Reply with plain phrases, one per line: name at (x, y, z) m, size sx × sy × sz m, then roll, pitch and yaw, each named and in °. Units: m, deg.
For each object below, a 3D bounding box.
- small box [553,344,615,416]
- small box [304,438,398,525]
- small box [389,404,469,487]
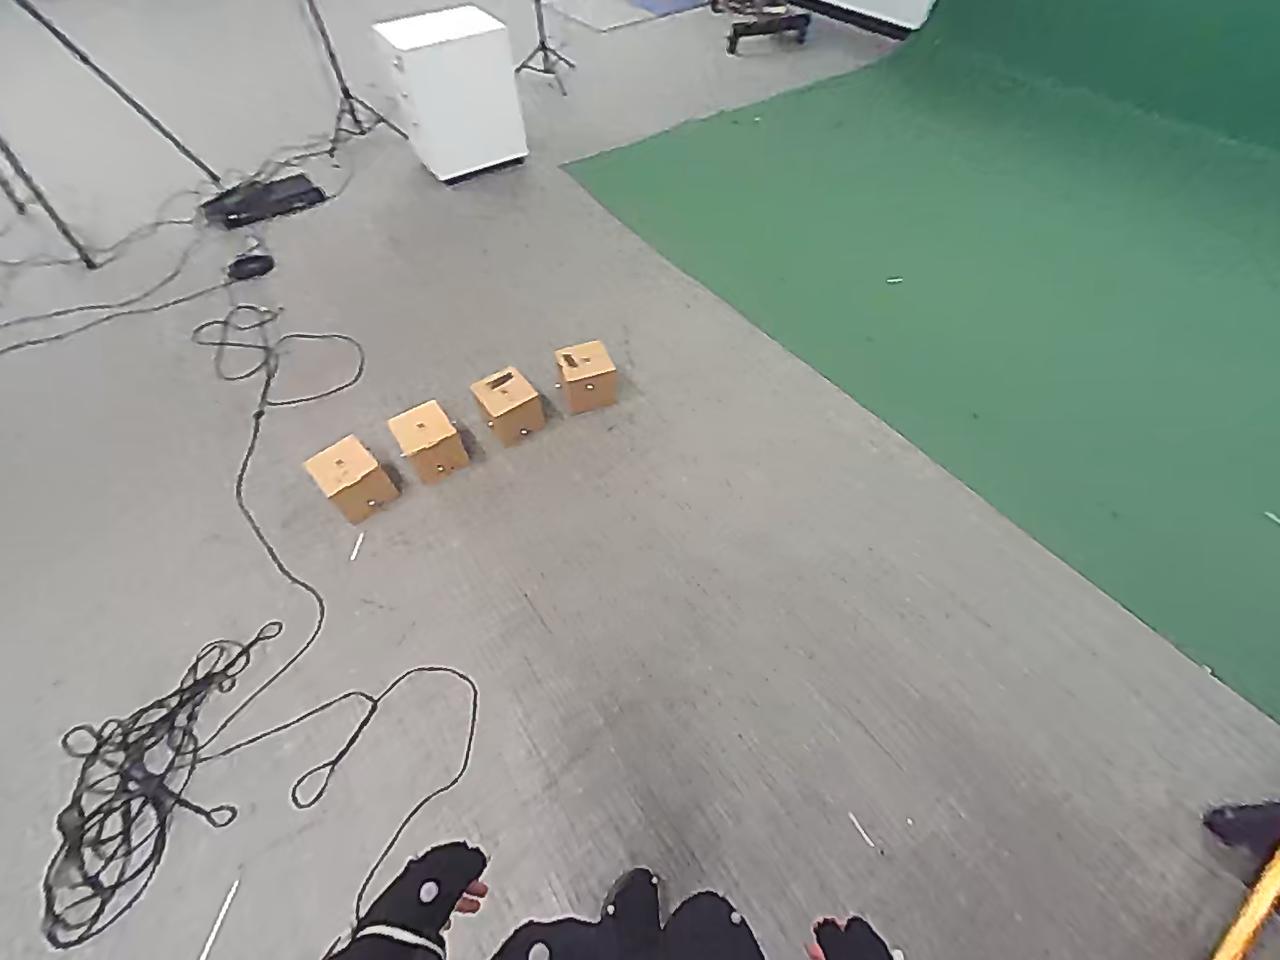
small box at (-0.195, -0.351, 1.930) m, size 0.179 × 0.176 × 0.168 m, roll -17°, pitch 57°, yaw -13°
small box at (-0.891, 0.009, 1.681) m, size 0.168 × 0.176 × 0.179 m, roll -39°, pitch 63°, yaw -22°
small box at (-0.686, -0.111, 1.766) m, size 0.168 × 0.176 × 0.179 m, roll -31°, pitch 61°, yaw -19°
